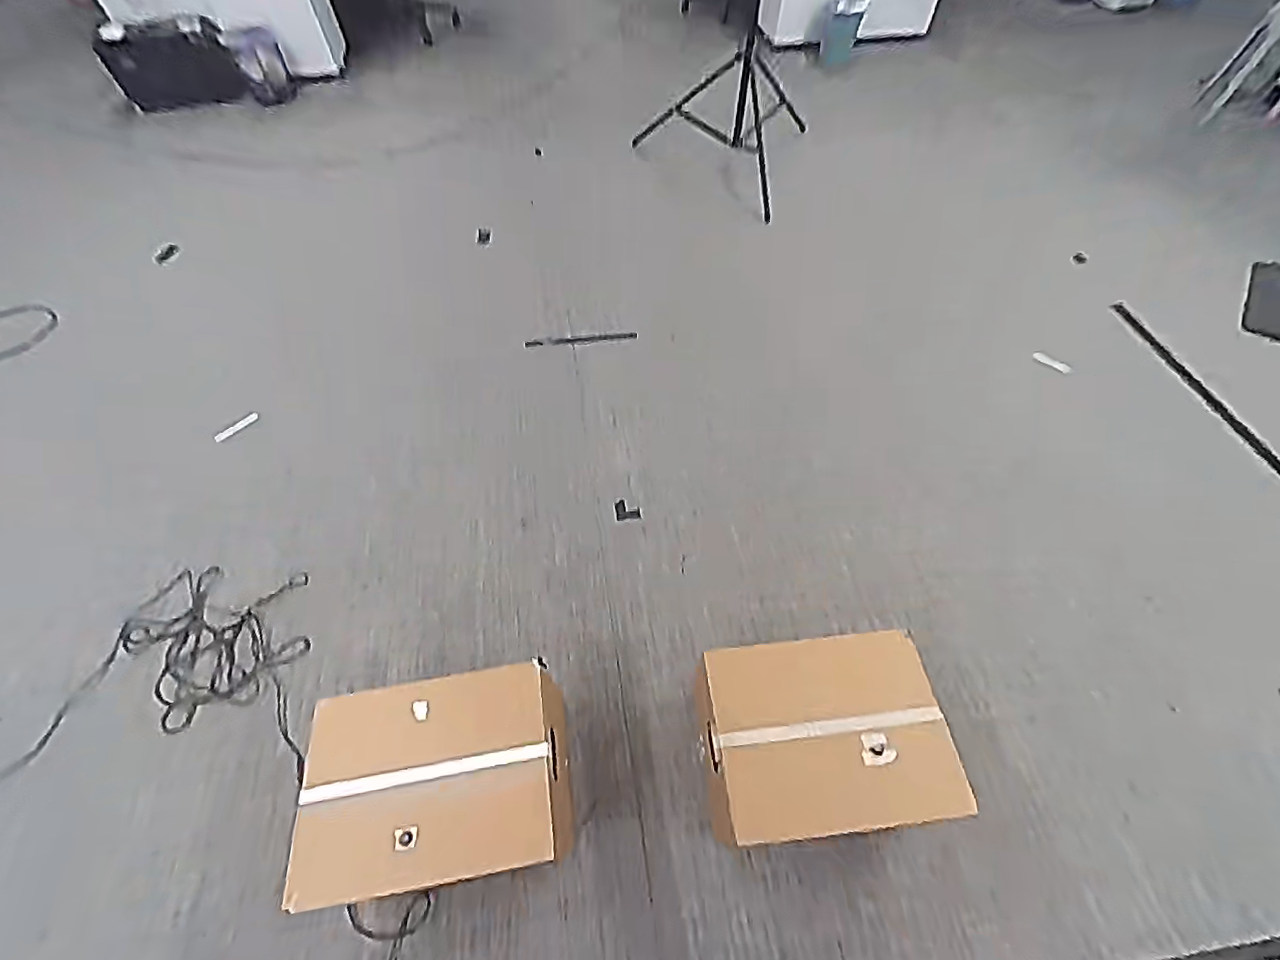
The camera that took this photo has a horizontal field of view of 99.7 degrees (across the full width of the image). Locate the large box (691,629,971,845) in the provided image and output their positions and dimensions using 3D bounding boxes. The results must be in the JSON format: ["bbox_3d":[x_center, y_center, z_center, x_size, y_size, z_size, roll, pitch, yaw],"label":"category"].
[{"bbox_3d":[0.335,0.521,1.085,0.408,0.320,0.320,-5,56,-4],"label":"large box"}]
